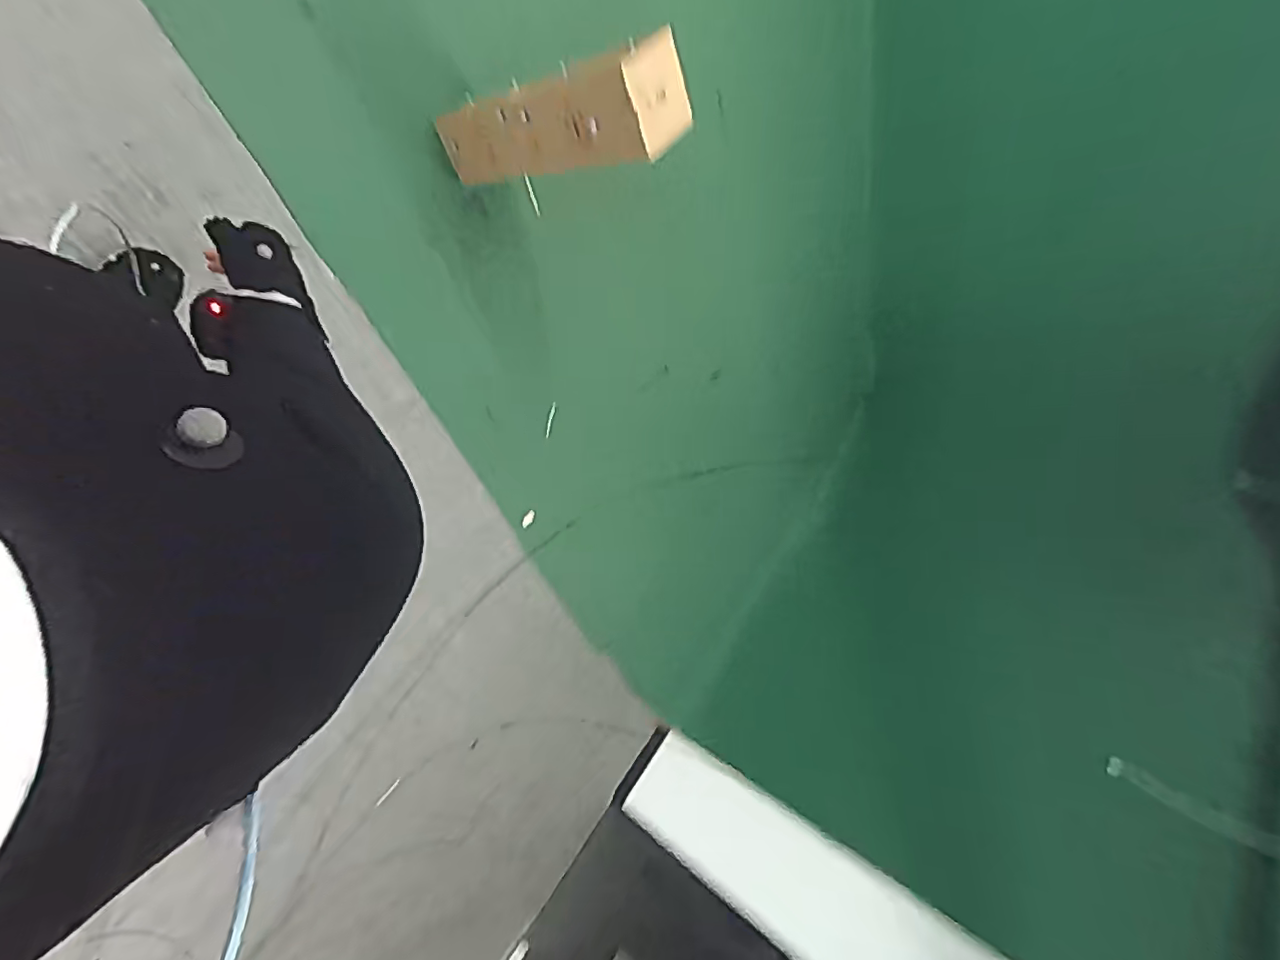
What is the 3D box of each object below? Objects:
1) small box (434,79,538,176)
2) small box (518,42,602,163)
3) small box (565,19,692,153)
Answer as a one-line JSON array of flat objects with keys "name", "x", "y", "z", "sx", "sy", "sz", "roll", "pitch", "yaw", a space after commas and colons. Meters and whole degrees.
[{"name": "small box", "x": -0.402, "y": -0.925, "z": 1.426, "sx": 0.179, "sy": 0.176, "sz": 0.168, "roll": -47, "pitch": 136, "yaw": -26}, {"name": "small box", "x": -0.151, "y": -0.848, "z": 1.228, "sx": 0.179, "sy": 0.176, "sz": 0.168, "roll": -52, "pitch": 139, "yaw": -23}, {"name": "small box", "x": -0.023, "y": -0.814, "z": 1.129, "sx": 0.179, "sy": 0.176, "sz": 0.168, "roll": -52, "pitch": 138, "yaw": -22}]
